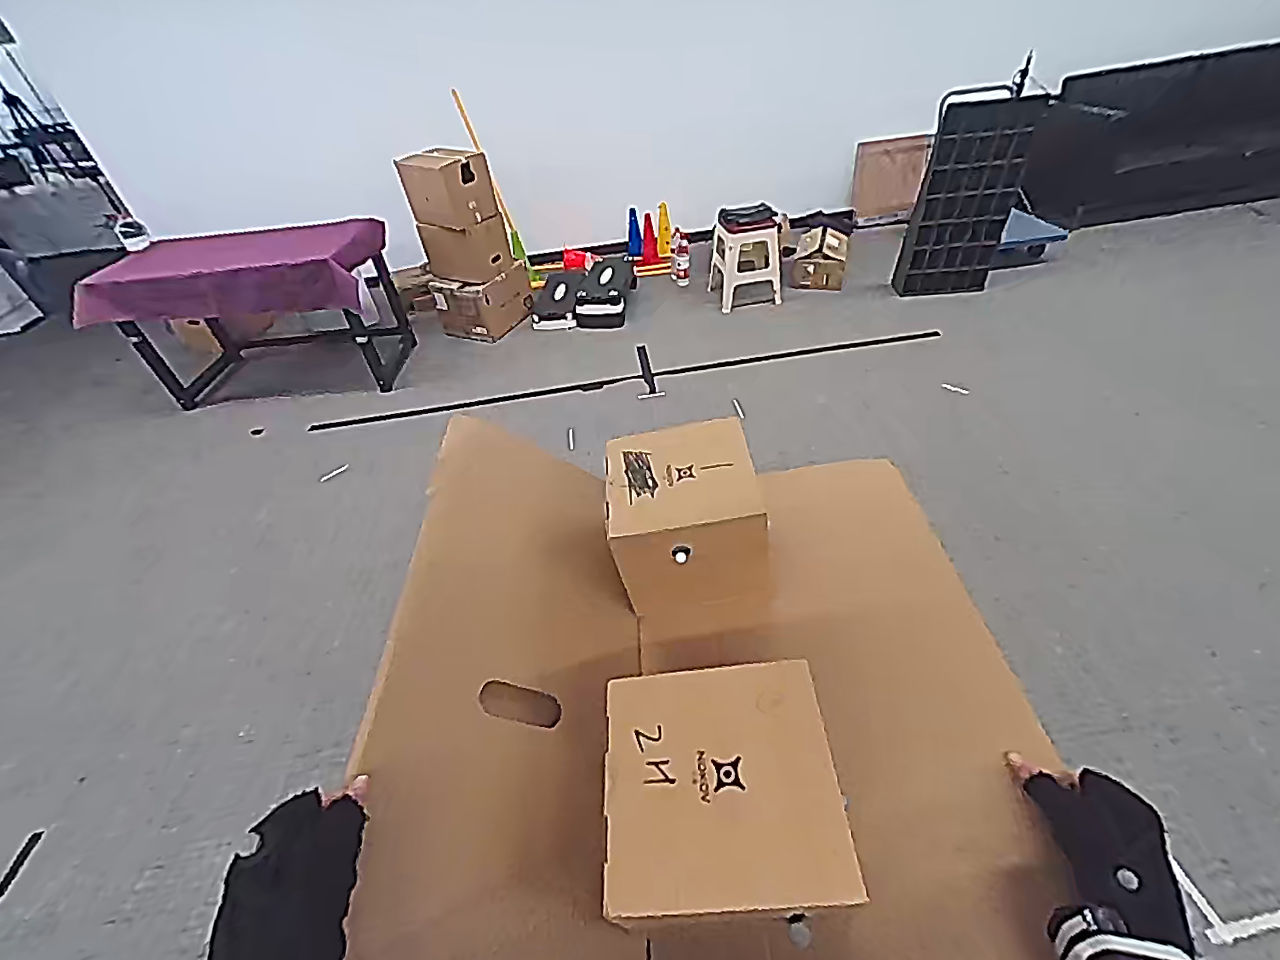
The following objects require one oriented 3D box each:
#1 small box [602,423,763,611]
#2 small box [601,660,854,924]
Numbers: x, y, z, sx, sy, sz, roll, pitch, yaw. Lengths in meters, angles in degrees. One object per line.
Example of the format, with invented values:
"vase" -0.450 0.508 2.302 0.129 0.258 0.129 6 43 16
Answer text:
"small box" 0.056 0.053 0.705 0.179 0.176 0.168 -10 45 5
"small box" 0.072 0.279 0.480 0.179 0.176 0.168 -9 45 8
